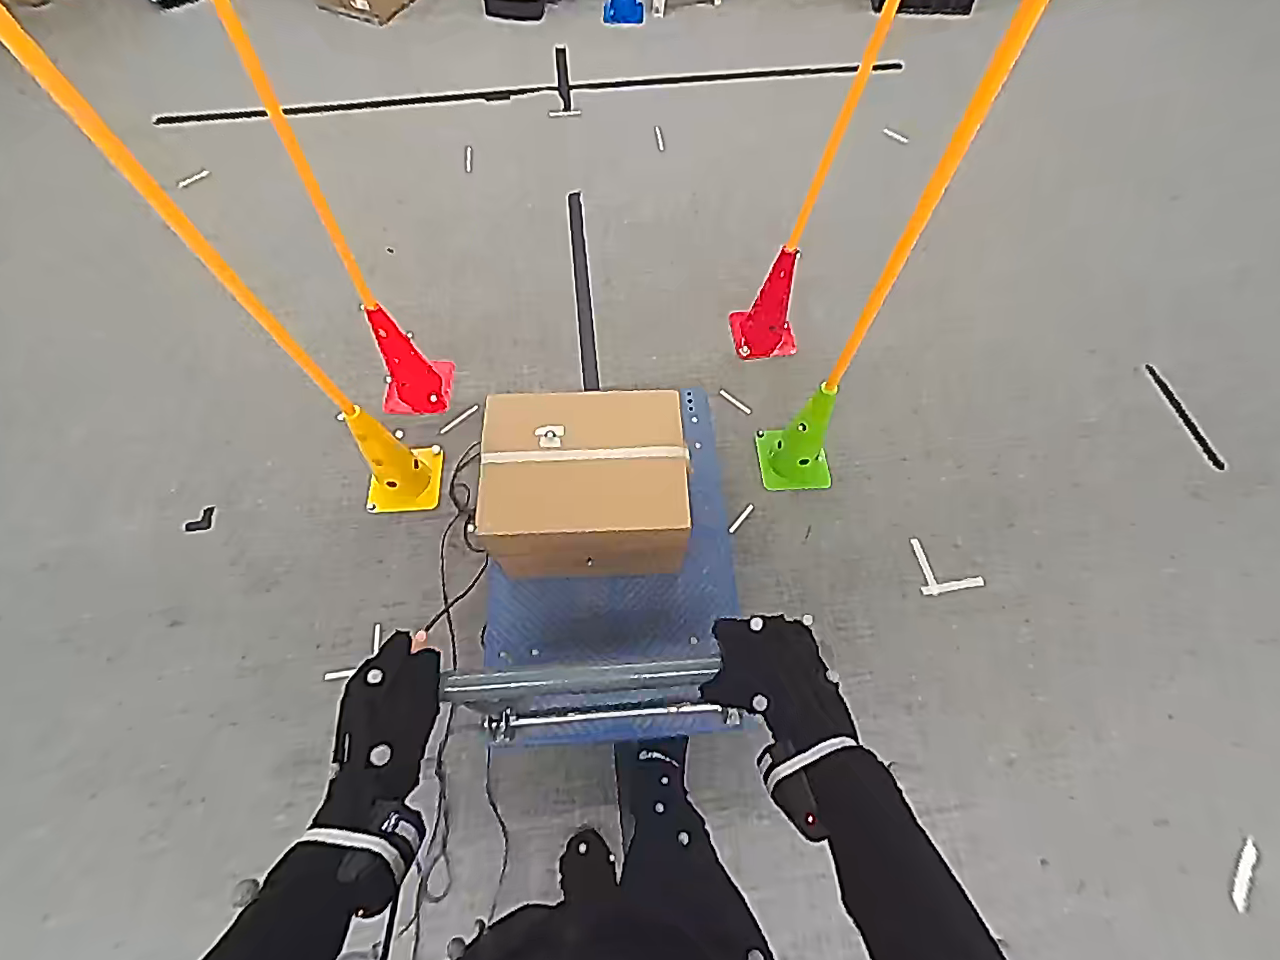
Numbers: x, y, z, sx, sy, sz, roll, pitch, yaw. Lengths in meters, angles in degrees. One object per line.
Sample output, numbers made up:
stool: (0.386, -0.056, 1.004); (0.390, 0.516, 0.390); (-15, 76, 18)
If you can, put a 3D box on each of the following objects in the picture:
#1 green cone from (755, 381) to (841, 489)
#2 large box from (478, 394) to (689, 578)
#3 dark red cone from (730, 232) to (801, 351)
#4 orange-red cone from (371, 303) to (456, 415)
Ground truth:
green cone: (0.456, -0.140, 1.461); (0.202, 0.368, 0.200); (-2, 64, -3)
large box: (-0.111, 0.028, 1.213); (0.408, 0.320, 0.320); (-2, 64, -1)
dark red cone: (0.418, -0.582, 1.660); (0.201, 0.394, 0.202); (-5, 64, -5)
orange-red cone: (-0.694, -0.373, 1.572); (0.198, 0.360, 0.199); (1, 62, -1)
